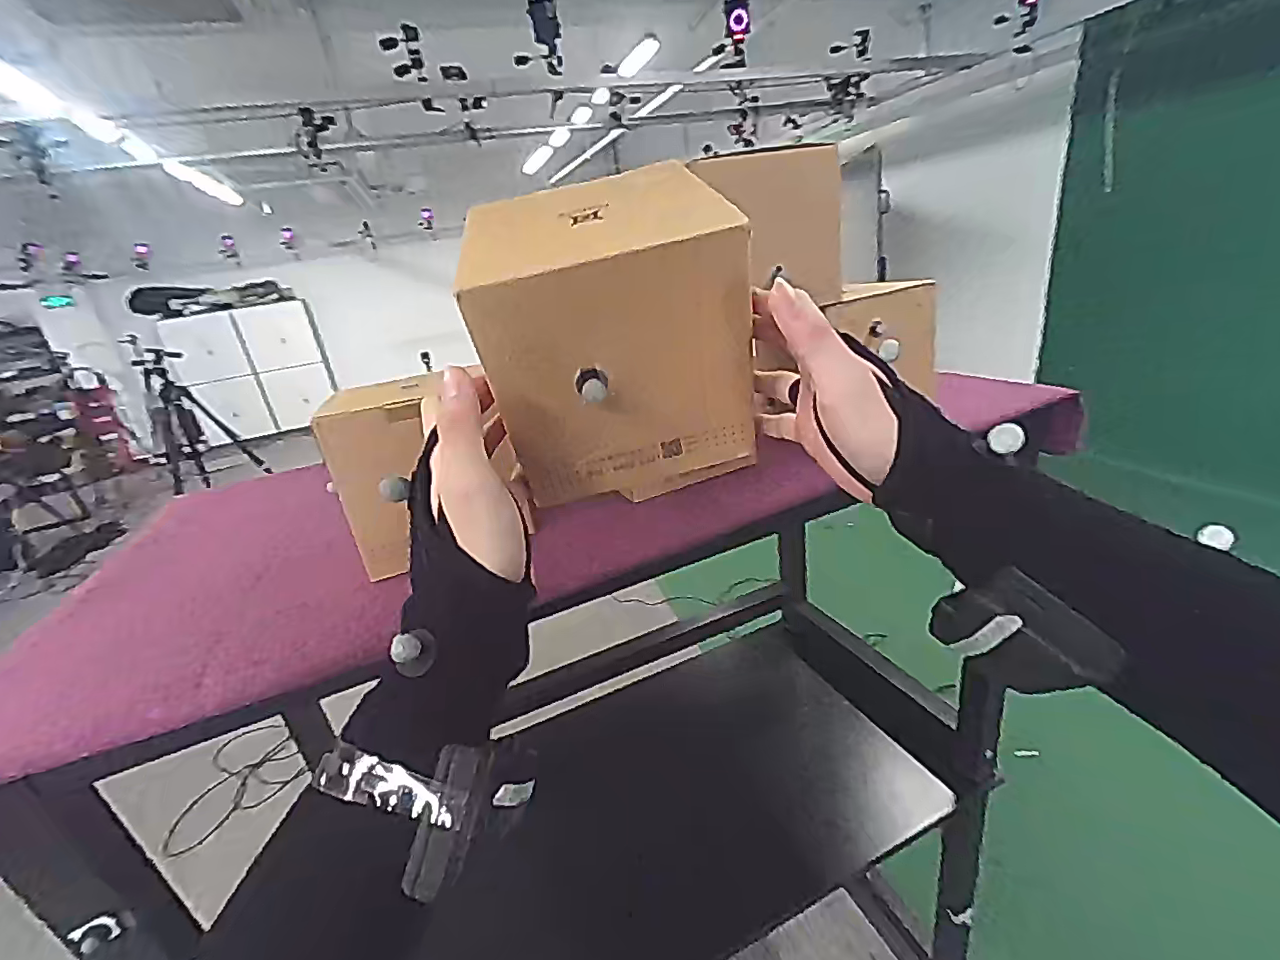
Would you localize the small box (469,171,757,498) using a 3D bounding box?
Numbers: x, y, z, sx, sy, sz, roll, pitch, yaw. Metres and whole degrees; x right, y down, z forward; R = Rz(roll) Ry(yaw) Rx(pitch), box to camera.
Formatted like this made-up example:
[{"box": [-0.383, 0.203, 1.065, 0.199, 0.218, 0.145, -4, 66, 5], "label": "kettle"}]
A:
[{"box": [-0.017, -0.106, 0.412, 0.168, 0.176, 0.179, -16, 42, -2], "label": "small box"}]

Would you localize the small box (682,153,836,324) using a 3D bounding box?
[{"box": [0.117, -0.284, 0.665, 0.179, 0.176, 0.168, -16, 22, -16], "label": "small box"}]

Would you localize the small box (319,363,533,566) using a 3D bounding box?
[{"box": [-0.225, -0.021, 0.599, 0.168, 0.176, 0.179, -15, 22, -17], "label": "small box"}]

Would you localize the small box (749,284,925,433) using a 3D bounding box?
[{"box": [0.277, -0.175, 0.771, 0.179, 0.176, 0.168, -16, 23, -18], "label": "small box"}]
